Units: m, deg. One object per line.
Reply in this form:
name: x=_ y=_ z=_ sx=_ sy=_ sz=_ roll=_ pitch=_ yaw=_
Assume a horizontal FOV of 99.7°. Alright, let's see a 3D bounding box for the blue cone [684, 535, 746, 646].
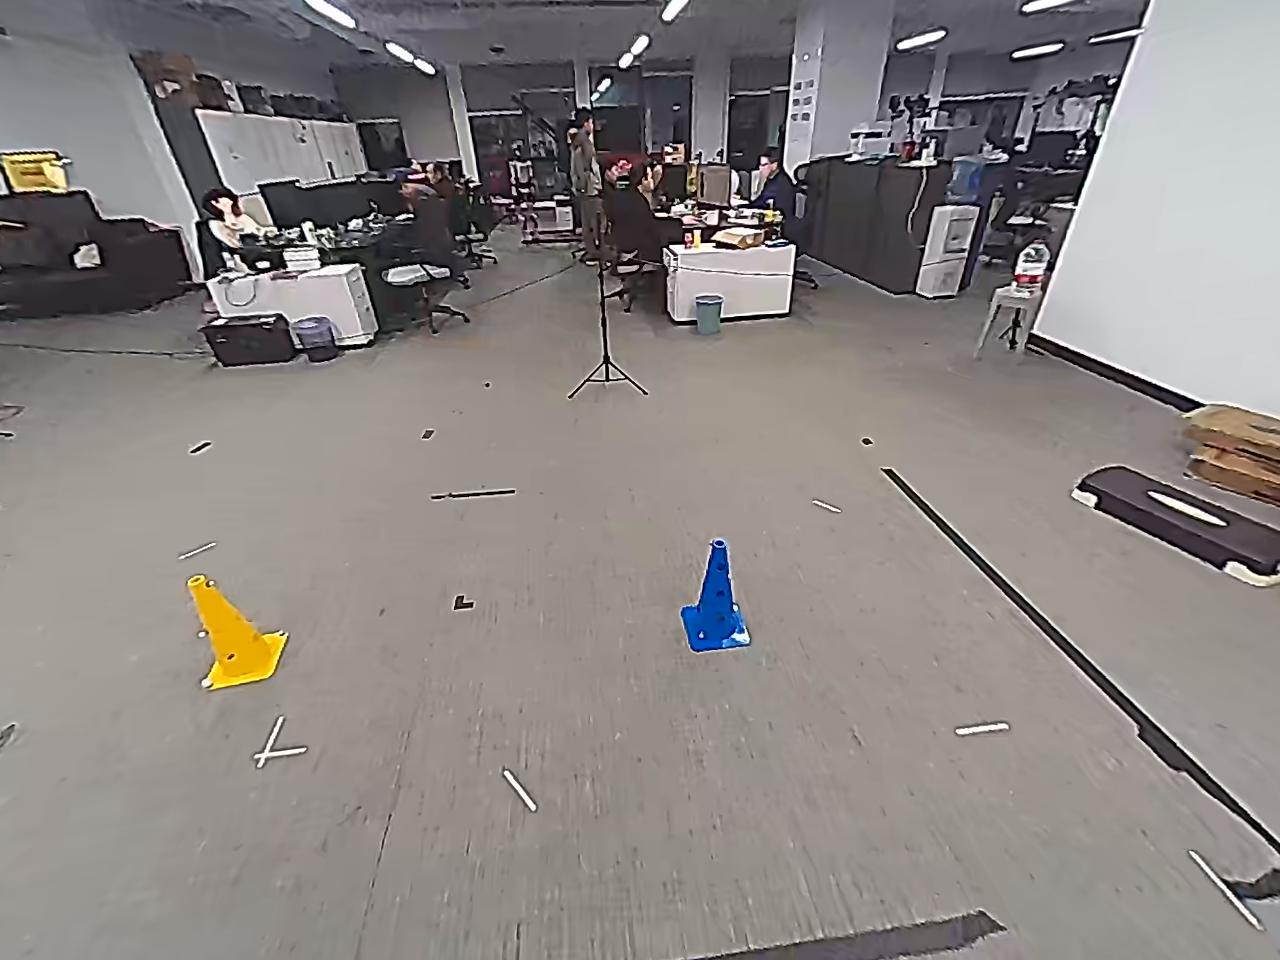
blue cone: x=0.247 y=0.342 z=1.737 sx=0.193 sy=0.380 sz=0.192 roll=-5 pitch=31 yaw=-4
